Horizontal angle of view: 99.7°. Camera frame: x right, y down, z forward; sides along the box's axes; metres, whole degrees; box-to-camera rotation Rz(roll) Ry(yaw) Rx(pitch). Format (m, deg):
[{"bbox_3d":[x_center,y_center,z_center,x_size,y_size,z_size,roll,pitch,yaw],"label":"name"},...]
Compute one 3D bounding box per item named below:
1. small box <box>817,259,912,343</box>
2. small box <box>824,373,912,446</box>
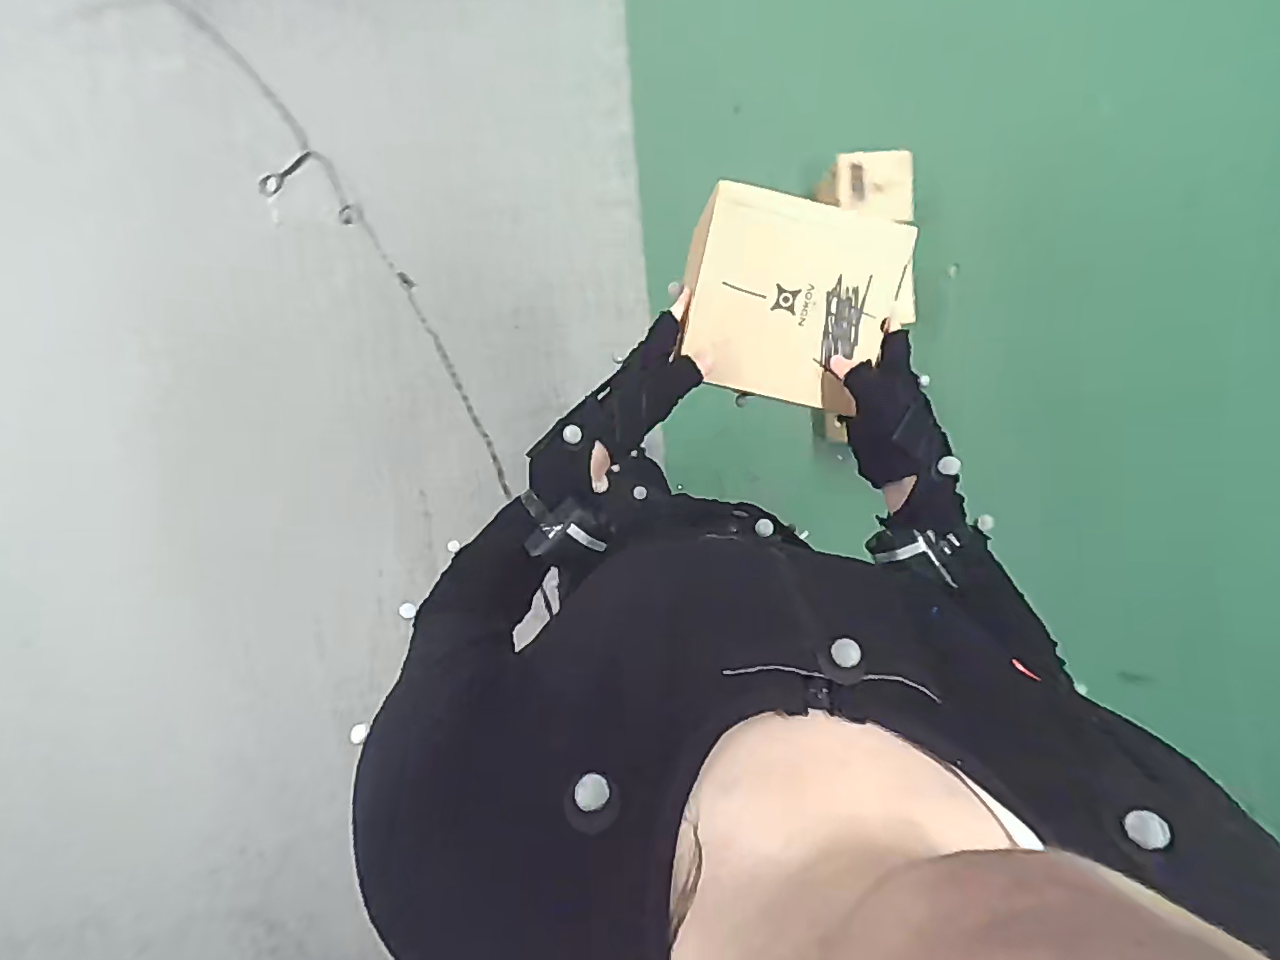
[{"bbox_3d":[0.574,-0.455,1.395,0.179,0.176,0.168,-5,94,1],"label":"small box"},{"bbox_3d":[0.589,-0.181,1.410,0.168,0.176,0.179,-3,94,0],"label":"small box"}]
